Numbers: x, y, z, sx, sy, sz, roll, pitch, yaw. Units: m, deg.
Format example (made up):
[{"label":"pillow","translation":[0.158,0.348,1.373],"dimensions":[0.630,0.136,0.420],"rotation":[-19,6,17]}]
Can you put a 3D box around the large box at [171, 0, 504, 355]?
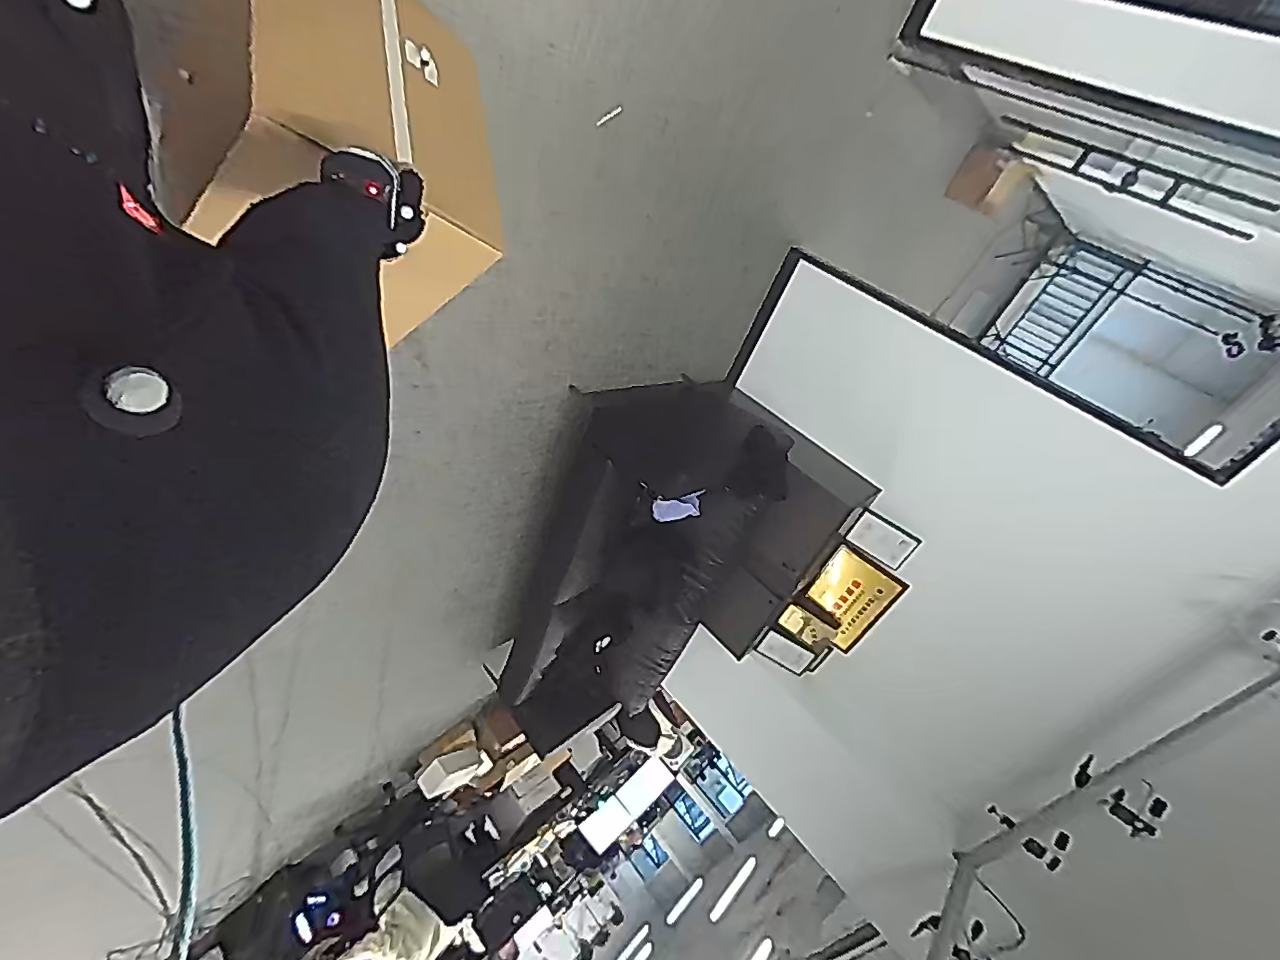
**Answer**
[{"label":"large box","translation":[-0.444,-0.458,0.788],"dimensions":[0.320,0.408,0.320],"rotation":[-24,160,31]}]
